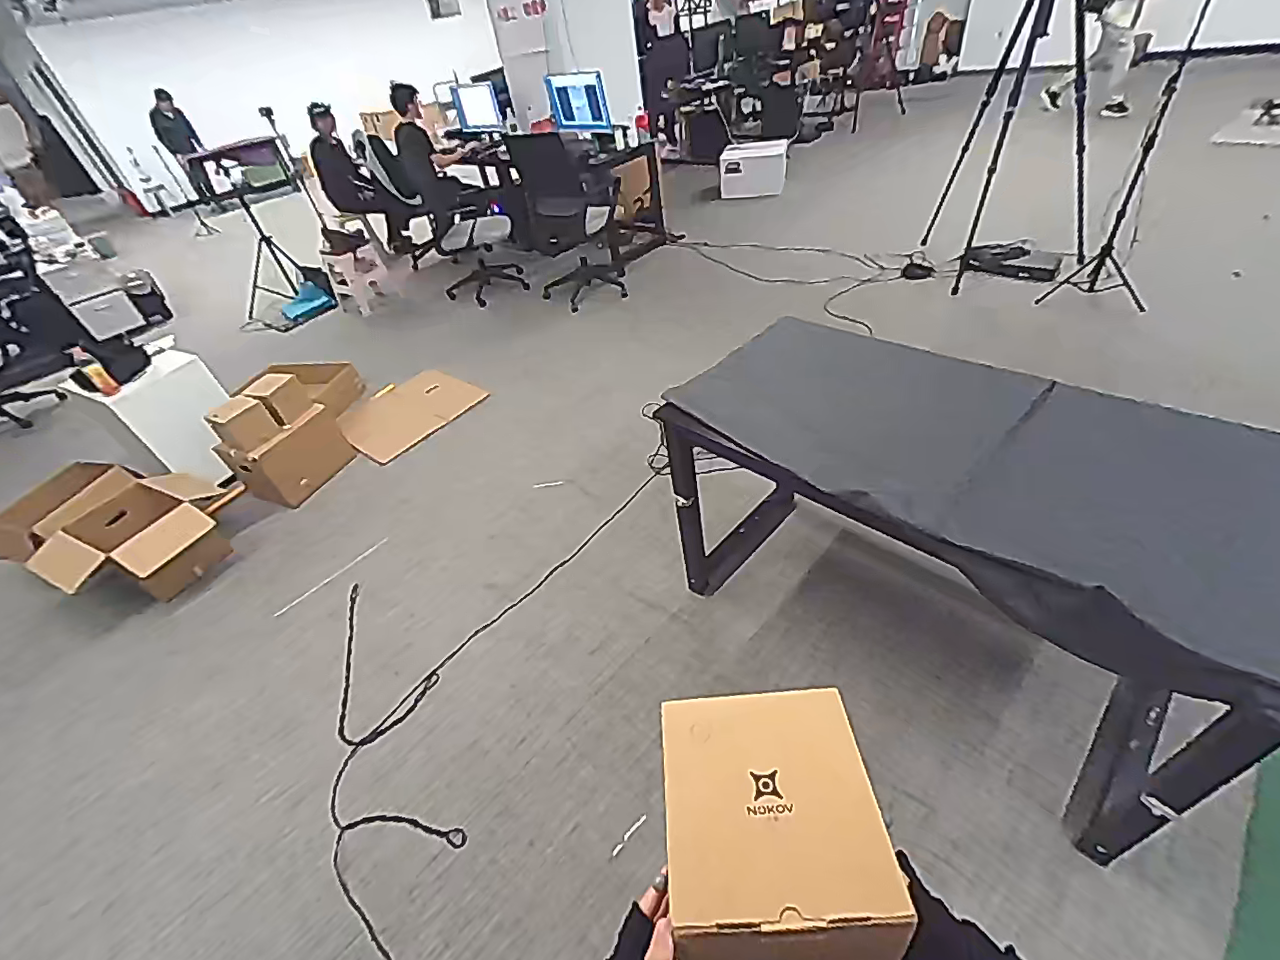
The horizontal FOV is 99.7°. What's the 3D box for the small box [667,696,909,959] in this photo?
[{"bbox_3d":[0.113,0.325,0.488,0.168,0.176,0.179,-6,35,3],"label":"small box"}]
